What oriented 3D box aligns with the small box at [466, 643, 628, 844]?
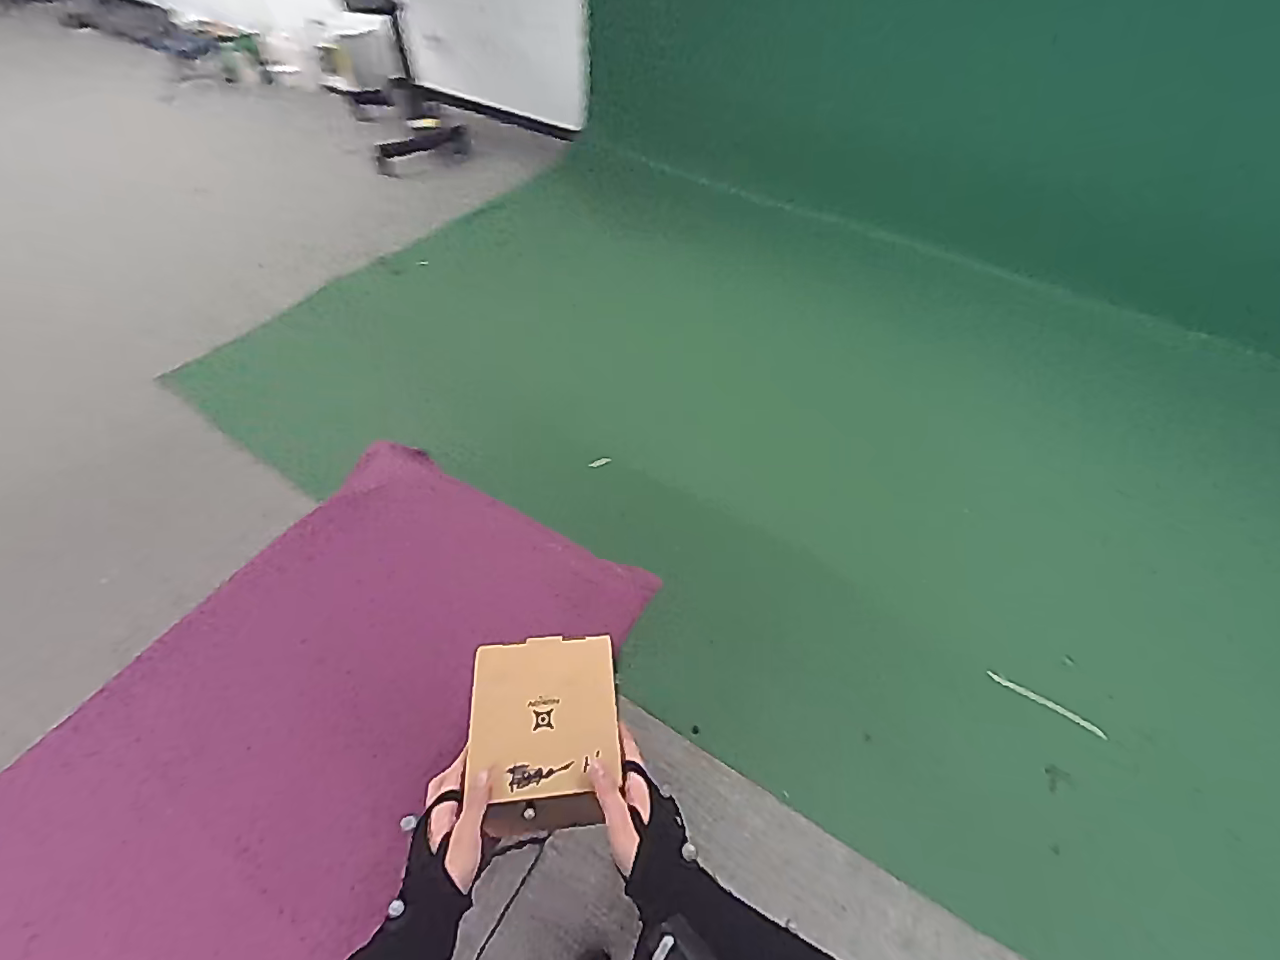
[{"bbox_3d":[-0.104,0.320,0.659,0.168,0.176,0.179,-2,48,-5],"label":"small box"}]
